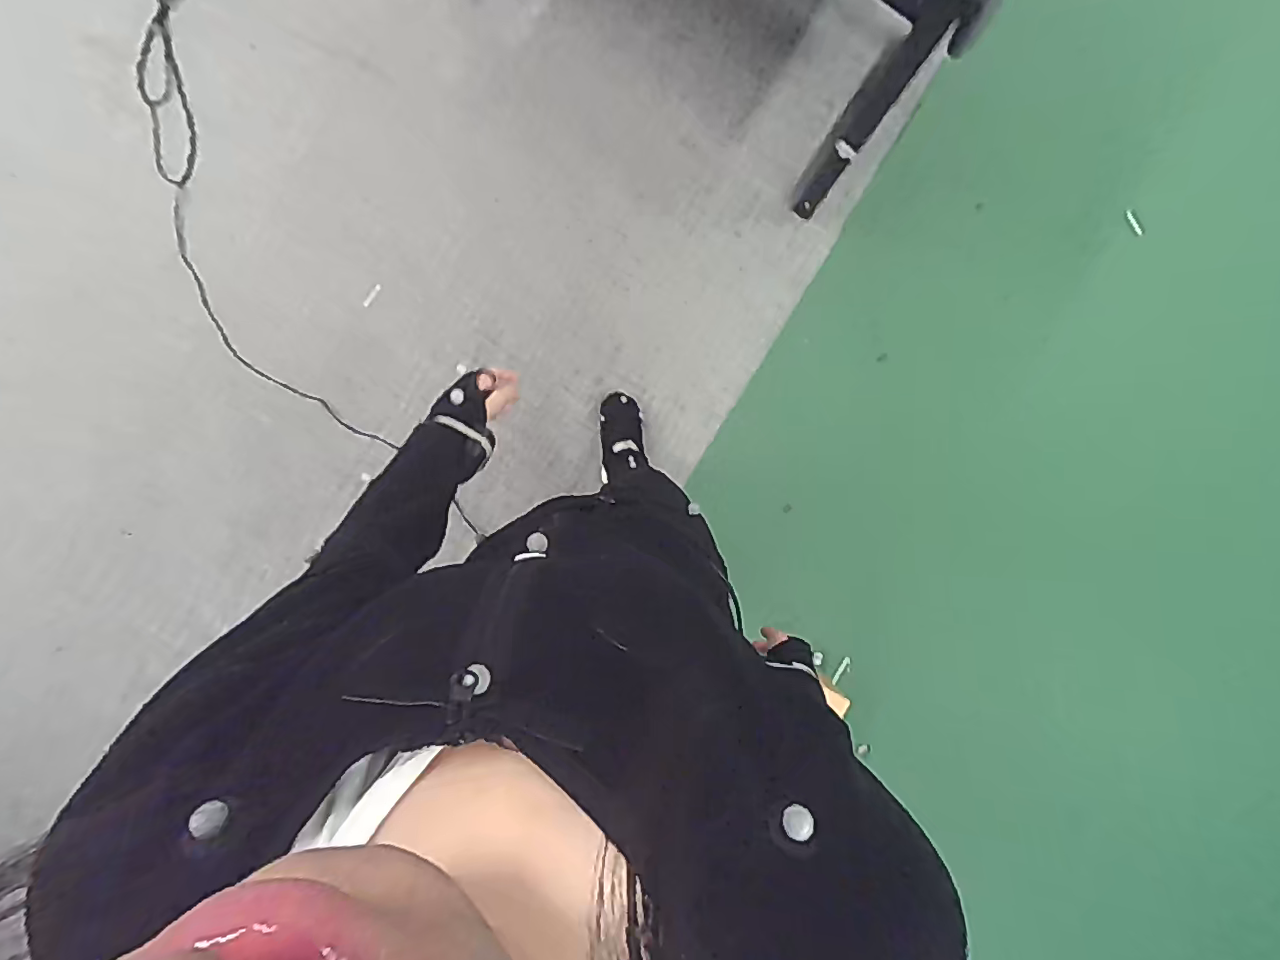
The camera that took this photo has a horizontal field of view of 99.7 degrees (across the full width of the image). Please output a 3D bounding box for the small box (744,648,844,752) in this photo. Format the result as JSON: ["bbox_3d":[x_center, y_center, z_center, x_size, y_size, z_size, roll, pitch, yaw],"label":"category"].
[{"bbox_3d":[0.407,0.583,1.458,0.179,0.176,0.168,30,91,-2],"label":"small box"}]
